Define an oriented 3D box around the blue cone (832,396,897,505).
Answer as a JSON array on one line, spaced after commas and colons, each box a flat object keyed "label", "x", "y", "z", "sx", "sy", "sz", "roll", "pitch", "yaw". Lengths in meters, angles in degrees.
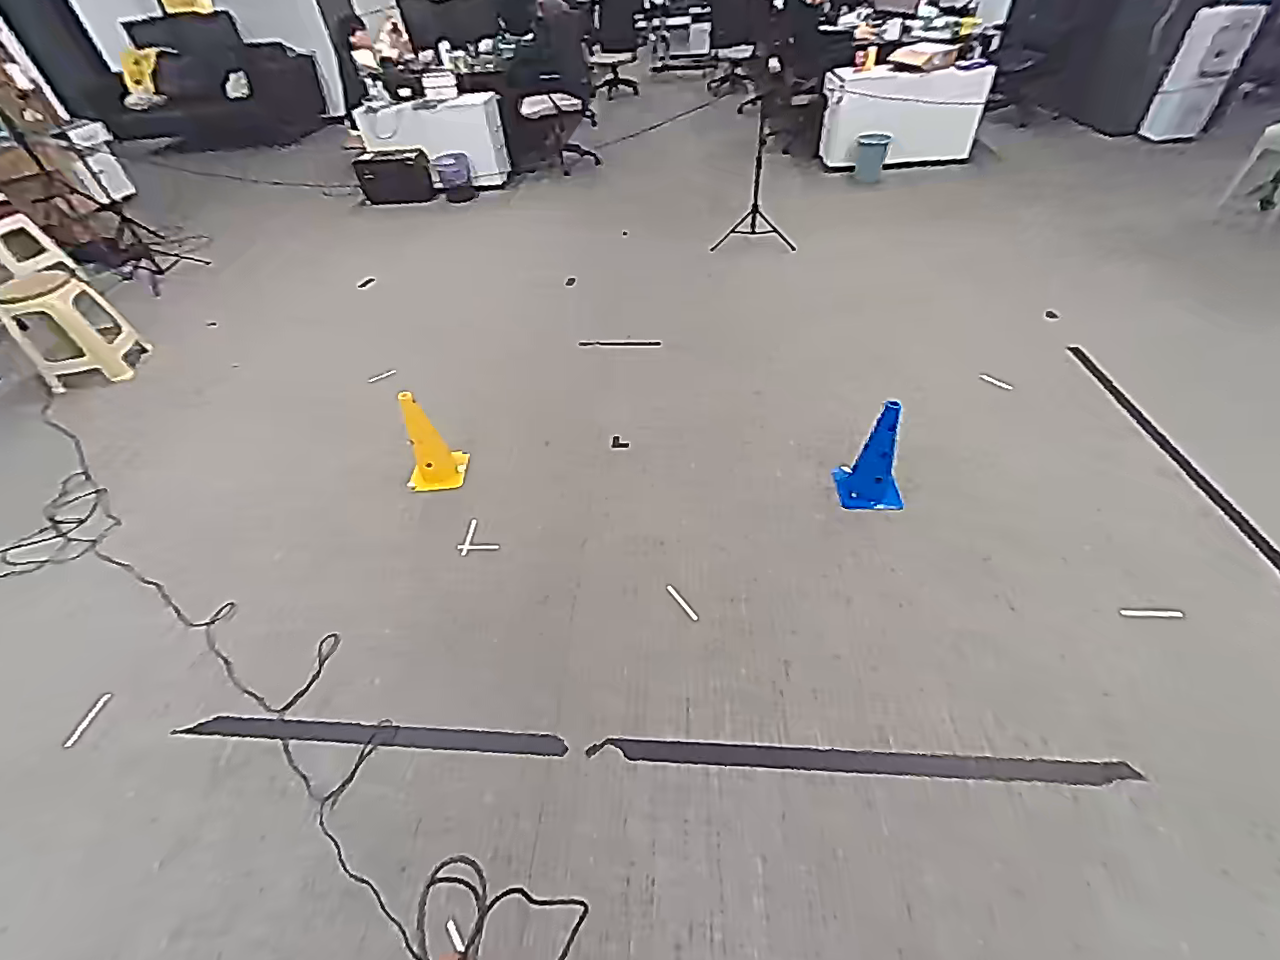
[{"label": "blue cone", "x": 0.756, "y": -0.101, "z": 1.737, "sx": 0.193, "sy": 0.380, "sz": 0.192, "roll": 0, "pitch": 44, "yaw": 6}]
